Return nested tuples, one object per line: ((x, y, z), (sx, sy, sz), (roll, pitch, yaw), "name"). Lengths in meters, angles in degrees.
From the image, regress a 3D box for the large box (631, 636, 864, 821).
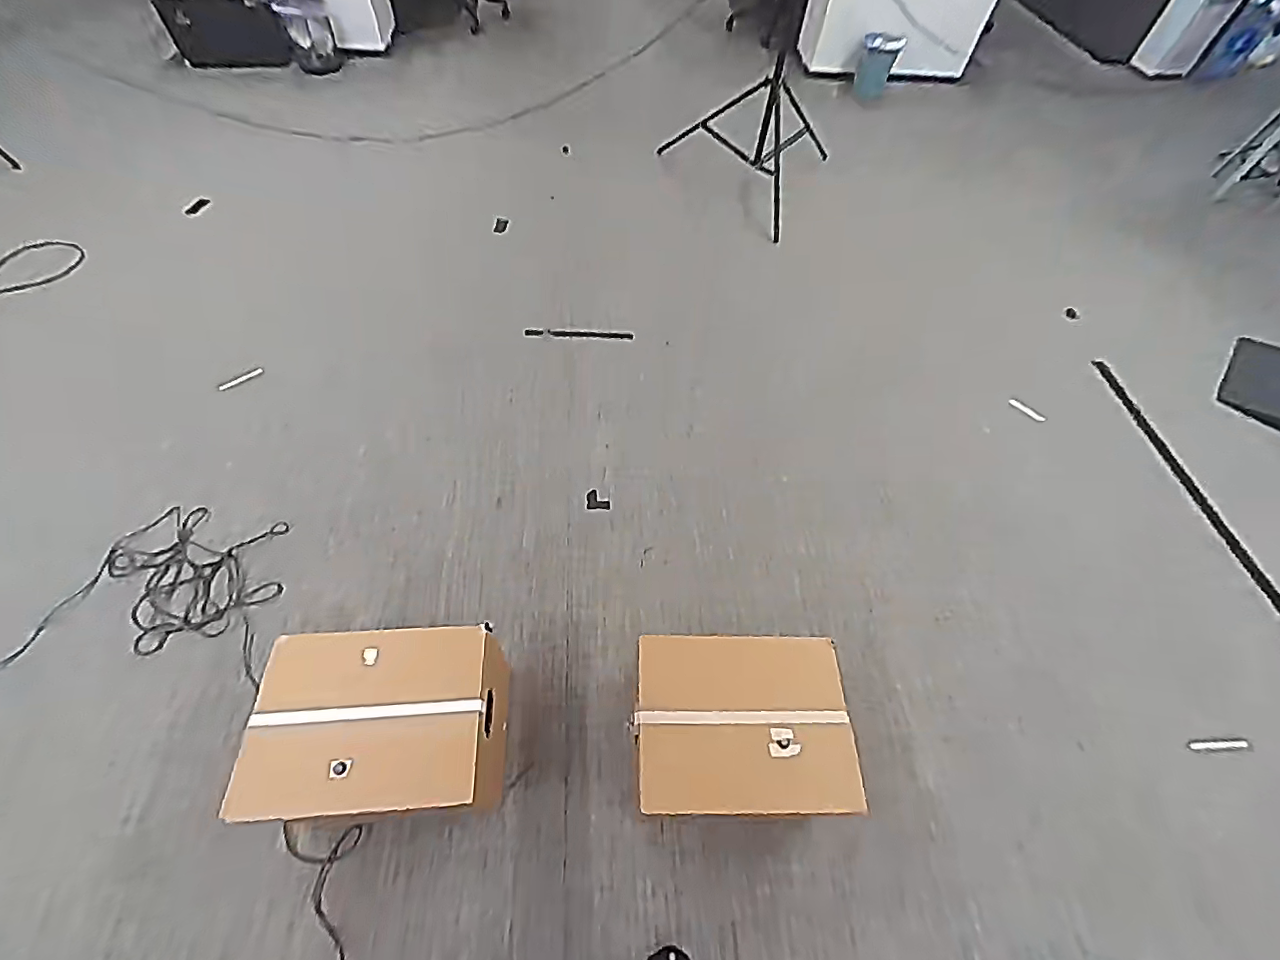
((0.190, 0.536, 1.157), (0.408, 0.320, 0.320), (2, 56, -4), "large box")
